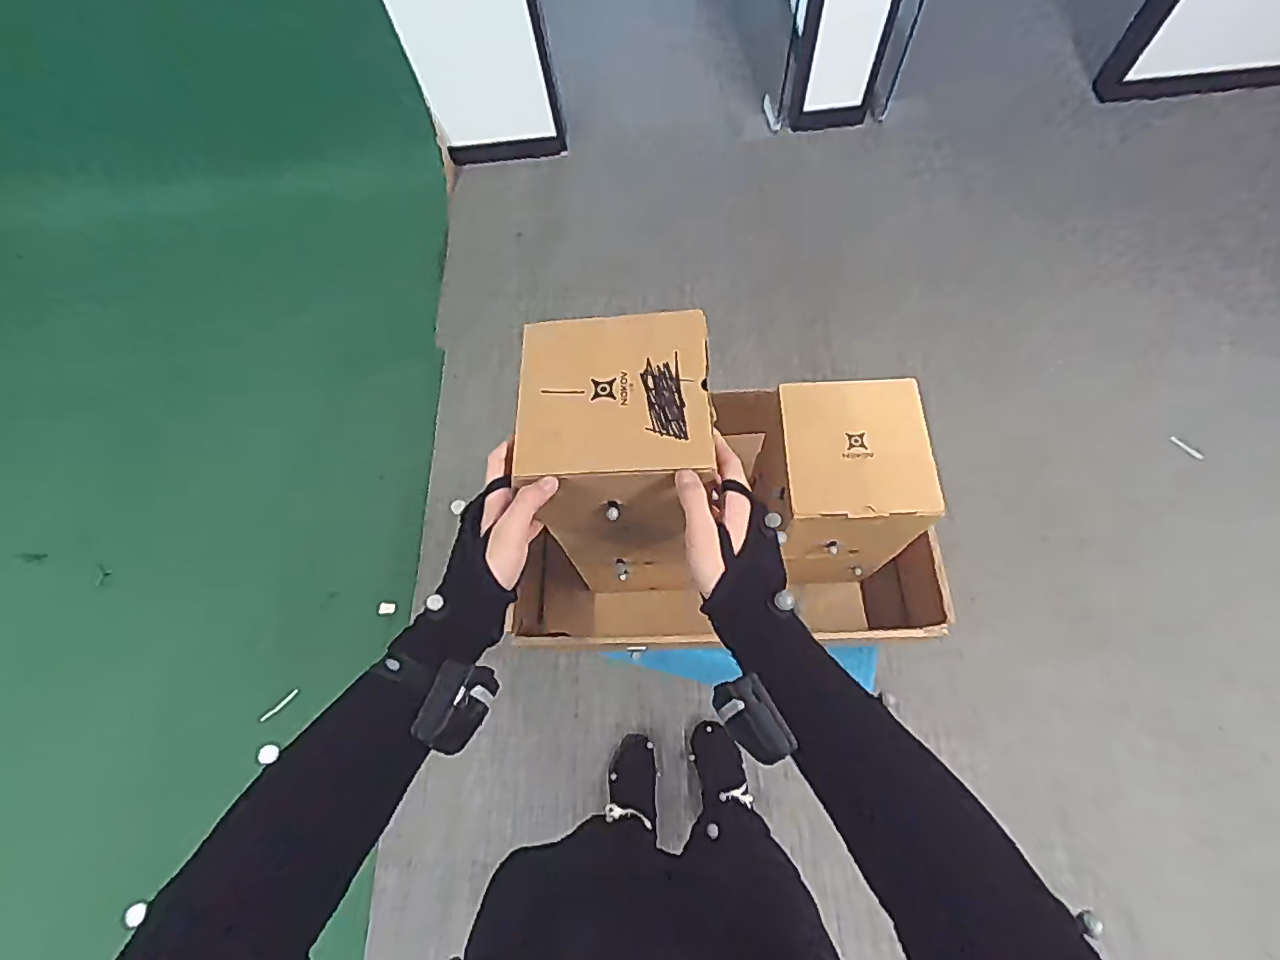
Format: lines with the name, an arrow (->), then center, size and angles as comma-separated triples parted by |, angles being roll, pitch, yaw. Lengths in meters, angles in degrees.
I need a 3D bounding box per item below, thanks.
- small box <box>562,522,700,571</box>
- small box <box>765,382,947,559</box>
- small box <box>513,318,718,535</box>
small box -> -0.009, 0.014, 0.712 | 0.168, 0.176, 0.179 | -1, 67, 4
small box -> 0.258, -0.006, 0.695 | 0.168, 0.176, 0.179 | -2, 66, 5
small box -> -0.017, -0.045, 0.561 | 0.179, 0.176, 0.168 | -2, 66, 4
